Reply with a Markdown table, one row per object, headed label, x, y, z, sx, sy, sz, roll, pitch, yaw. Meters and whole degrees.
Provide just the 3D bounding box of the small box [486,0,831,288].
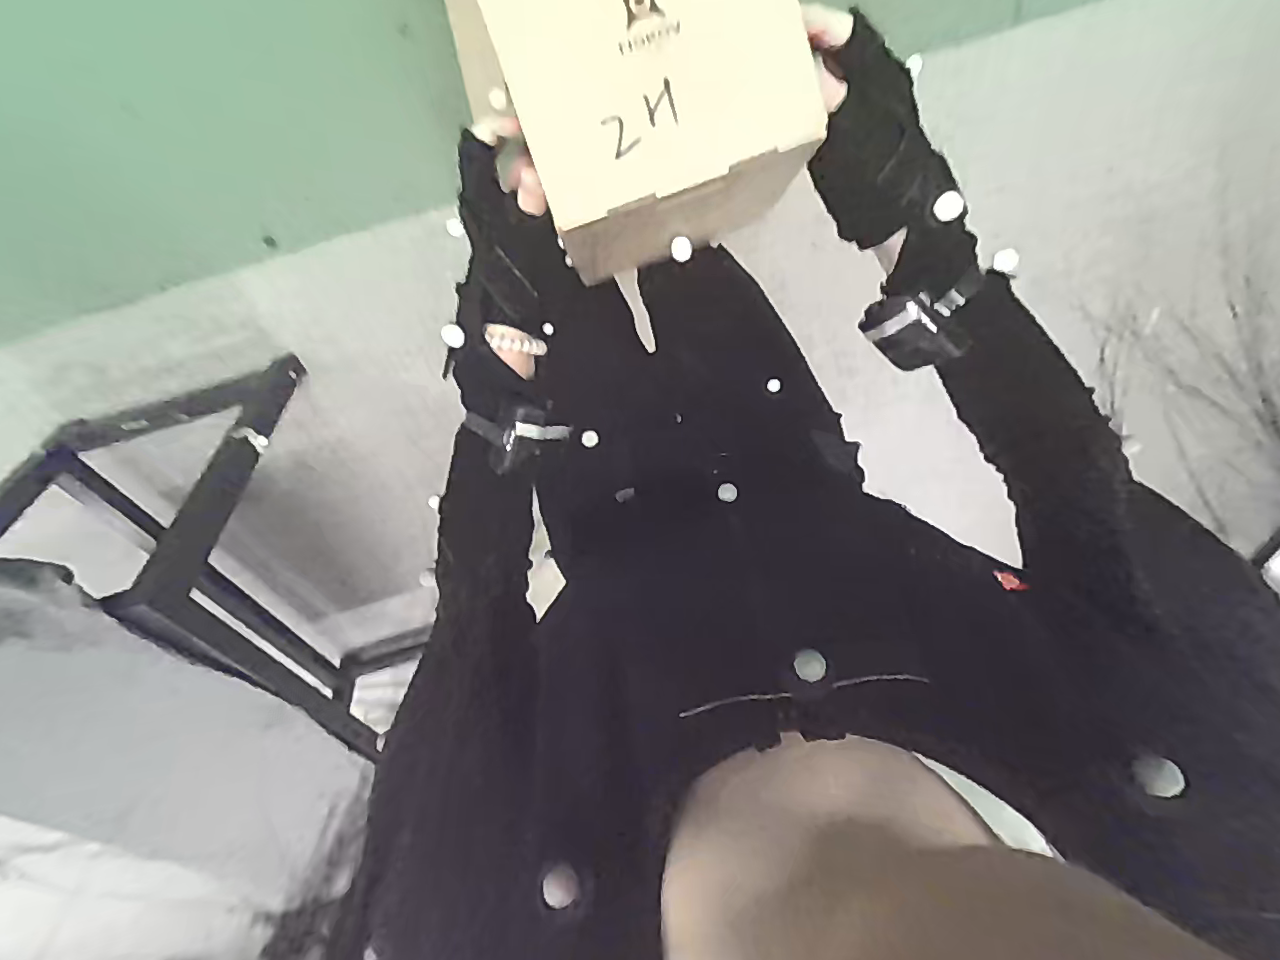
| label | x | y | z | sx | sy | sz | roll | pitch | yaw |
| --- | --- | --- | --- | --- | --- | --- | --- | --- | --- |
| small box | 0.005 | -0.257 | 0.374 | 0.168 | 0.176 | 0.179 | -18 | 98 | 3 |
